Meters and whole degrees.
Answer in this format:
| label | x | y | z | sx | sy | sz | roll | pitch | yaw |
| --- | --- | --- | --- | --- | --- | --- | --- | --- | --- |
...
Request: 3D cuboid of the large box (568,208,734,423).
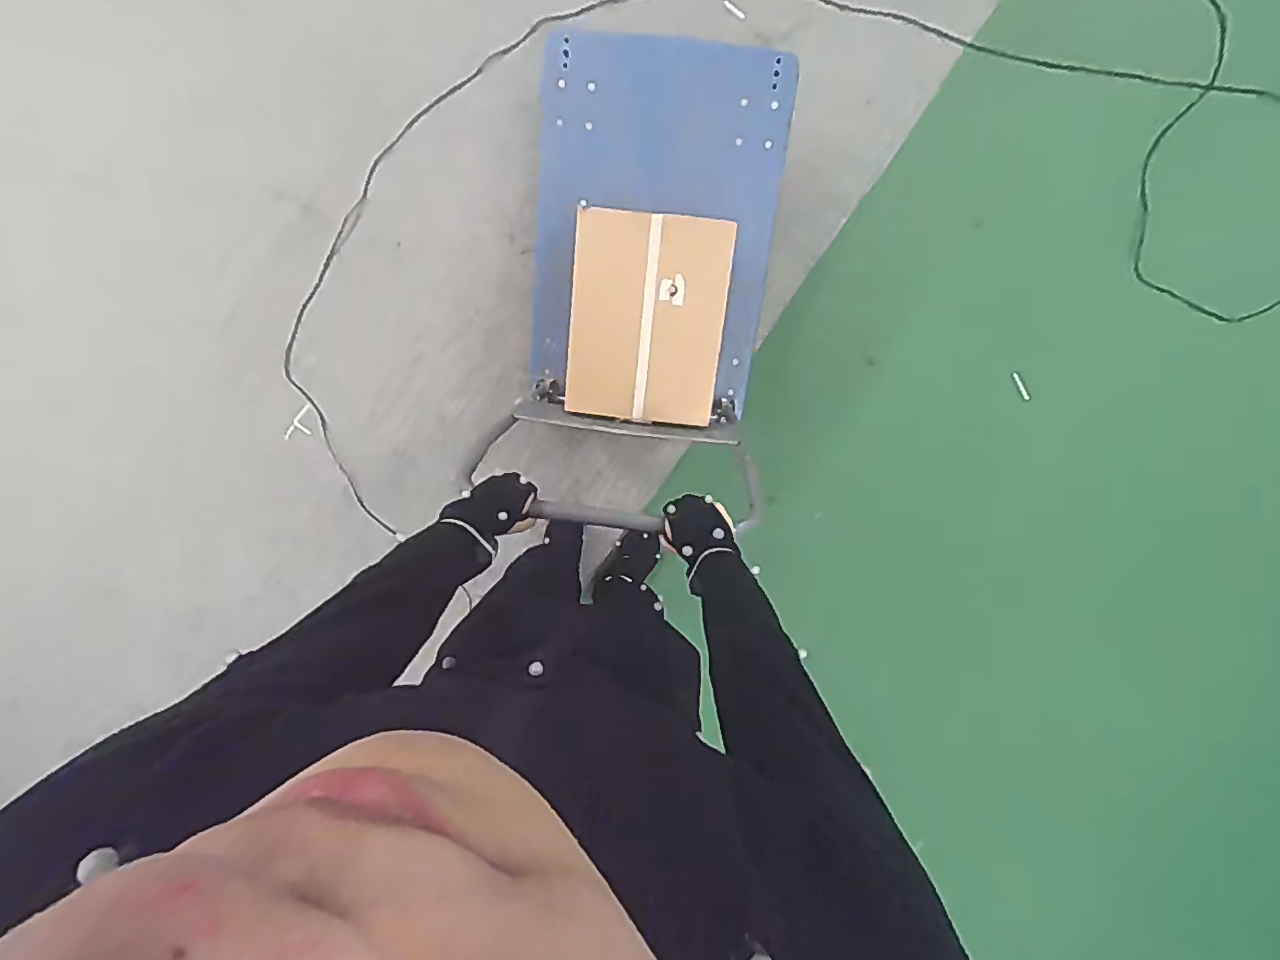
| label | x | y | z | sx | sy | sz | roll | pitch | yaw |
| --- | --- | --- | --- | --- | --- | --- | --- | --- | --- |
| large box | 0.023 | -0.363 | 1.243 | 0.320 | 0.320 | 0.408 | 6 | 106 | 1 |
